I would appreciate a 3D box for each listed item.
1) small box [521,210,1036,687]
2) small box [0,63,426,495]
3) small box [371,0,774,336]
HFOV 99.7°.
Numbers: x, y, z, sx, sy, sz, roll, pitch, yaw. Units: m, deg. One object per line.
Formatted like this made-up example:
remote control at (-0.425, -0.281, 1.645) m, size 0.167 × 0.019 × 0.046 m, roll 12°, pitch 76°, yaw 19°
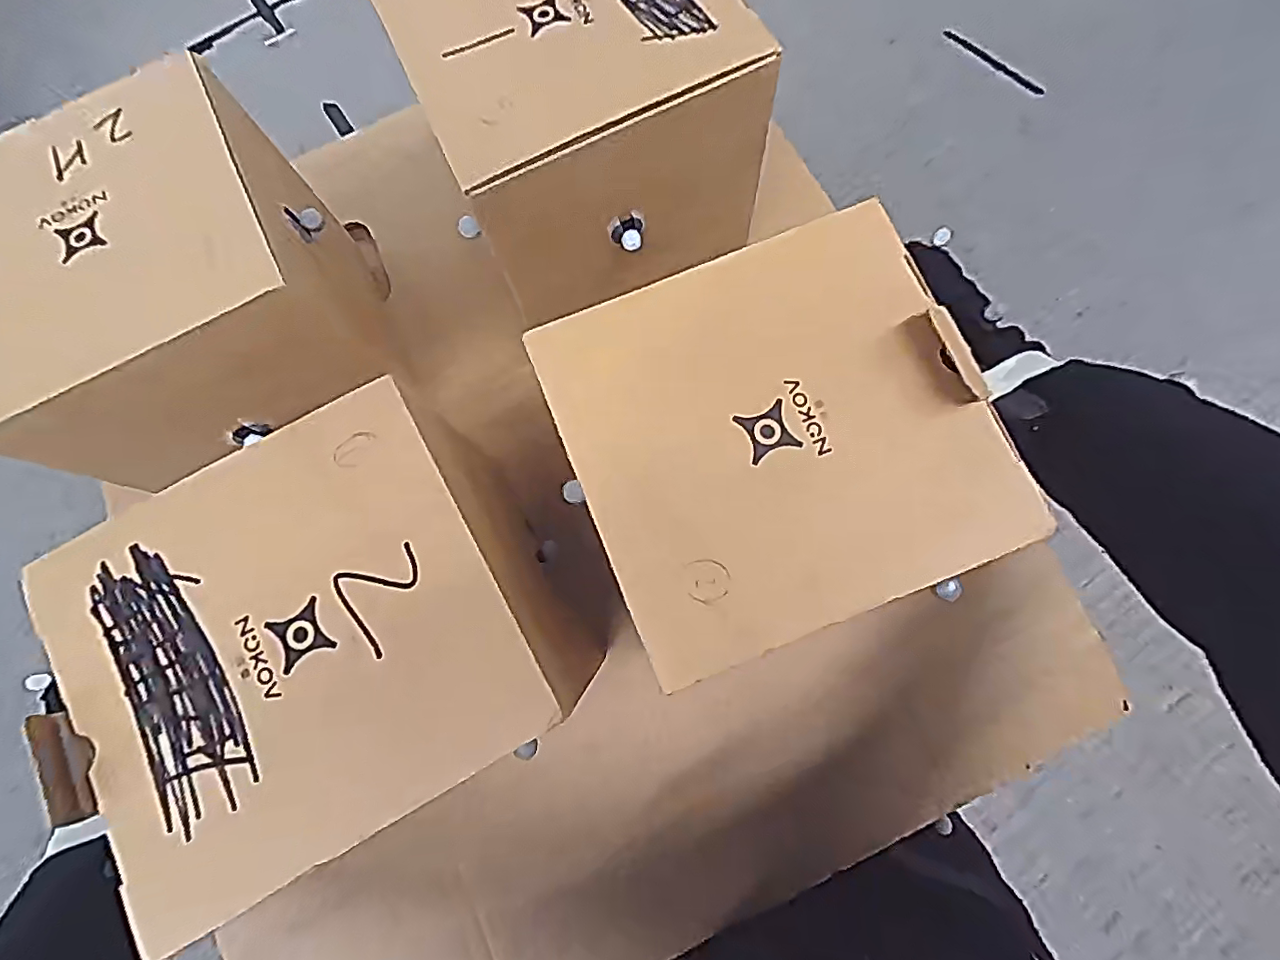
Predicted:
small box at (0.057, -0.006, 0.310) m, size 0.179 × 0.176 × 0.168 m, roll -22°, pitch 81°, yaw -3°
small box at (-0.271, -0.104, 0.354) m, size 0.168 × 0.176 × 0.179 m, roll -27°, pitch 75°, yaw -3°
small box at (-0.036, -0.222, 0.364) m, size 0.179 × 0.176 × 0.168 m, roll -25°, pitch 76°, yaw -1°
